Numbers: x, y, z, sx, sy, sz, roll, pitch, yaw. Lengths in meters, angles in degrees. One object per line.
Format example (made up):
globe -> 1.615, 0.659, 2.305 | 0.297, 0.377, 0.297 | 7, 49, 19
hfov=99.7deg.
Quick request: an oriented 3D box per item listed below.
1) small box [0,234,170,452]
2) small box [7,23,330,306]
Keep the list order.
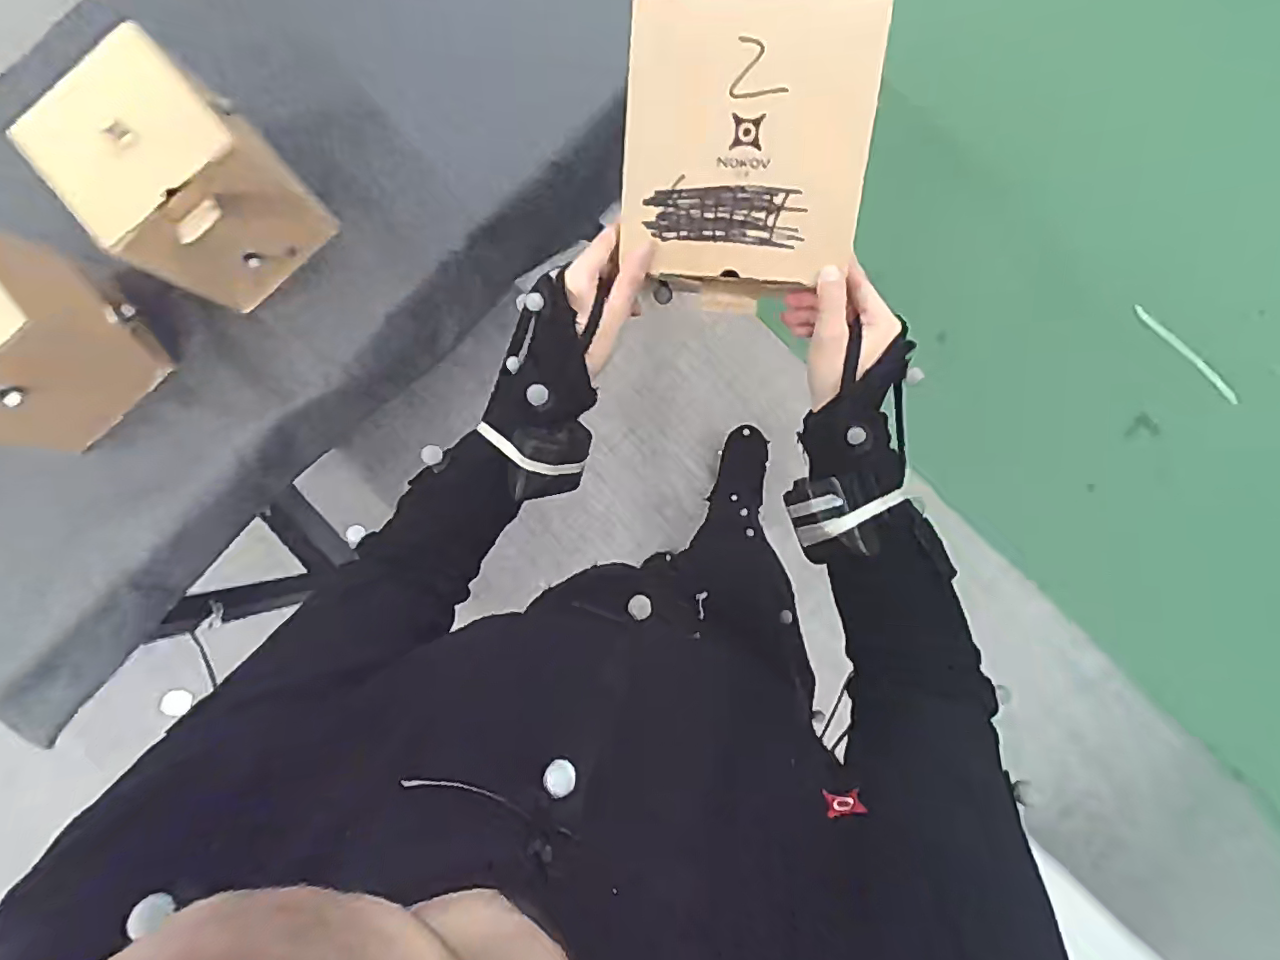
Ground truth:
small box -> -0.703, -0.149, 0.609 | 0.179, 0.176, 0.168 | -41, 86, 0
small box -> -0.503, -0.330, 0.605 | 0.168, 0.176, 0.179 | -43, 86, 1
